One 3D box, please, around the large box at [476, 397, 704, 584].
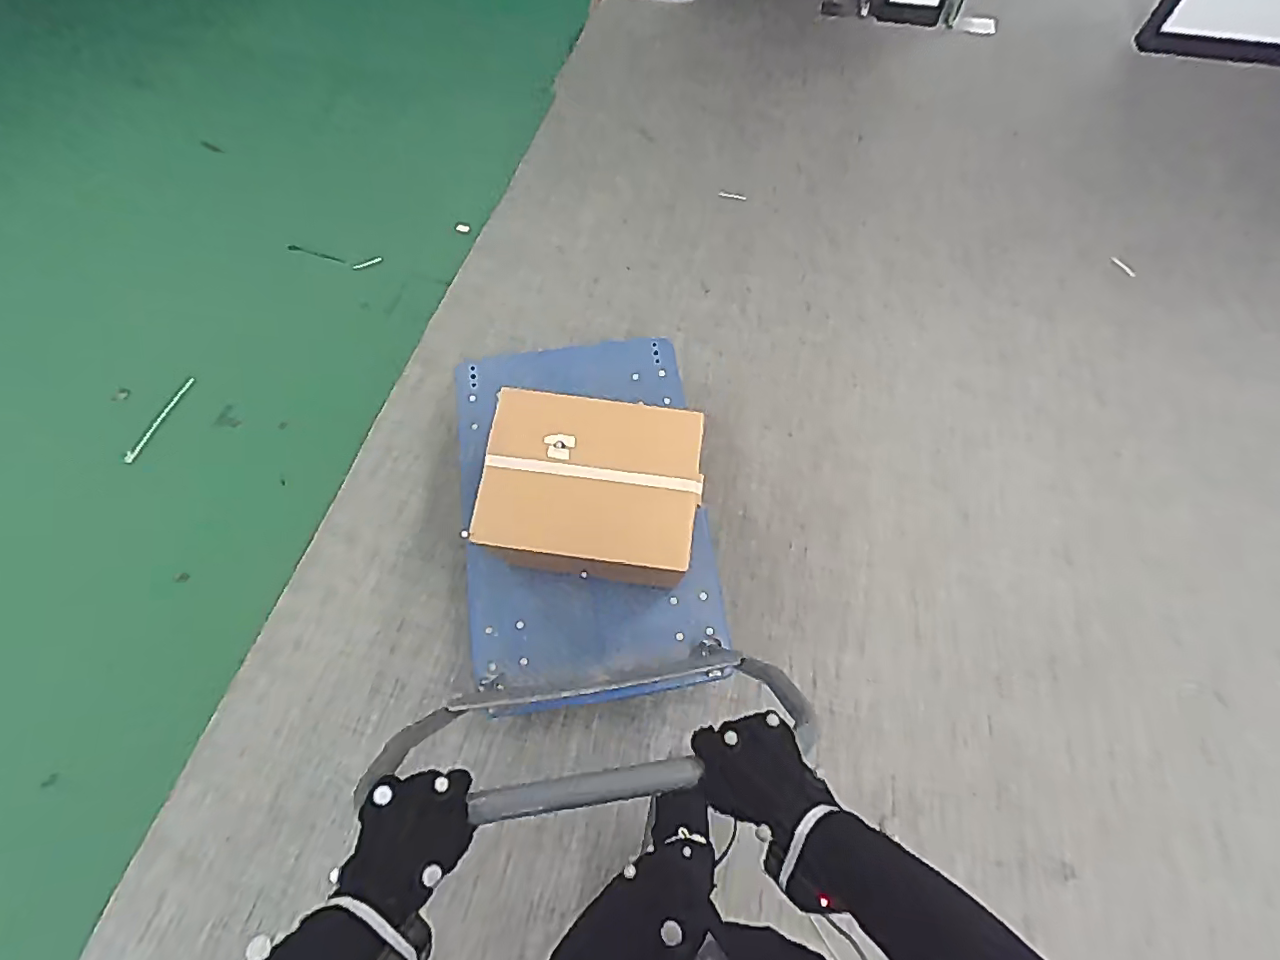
[{"bbox_3d":[-0.083,0.041,1.155,0.408,0.320,0.320,6,74,3],"label":"large box"}]
